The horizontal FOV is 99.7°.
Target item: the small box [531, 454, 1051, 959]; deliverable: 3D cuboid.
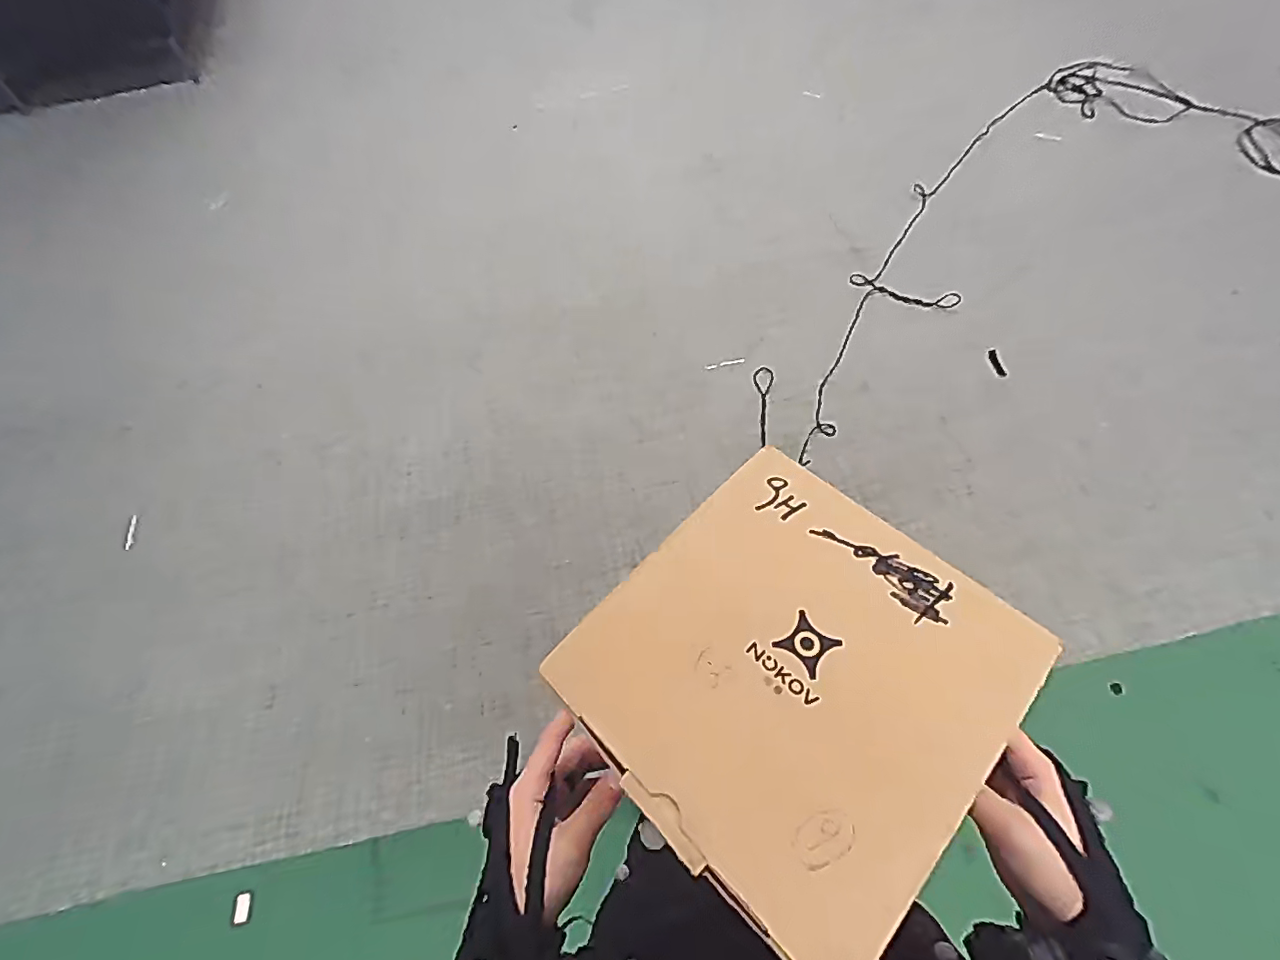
[{"bbox_3d":[0.072,0.126,0.311,0.179,0.176,0.168,-41,62,-19],"label":"small box"}]
